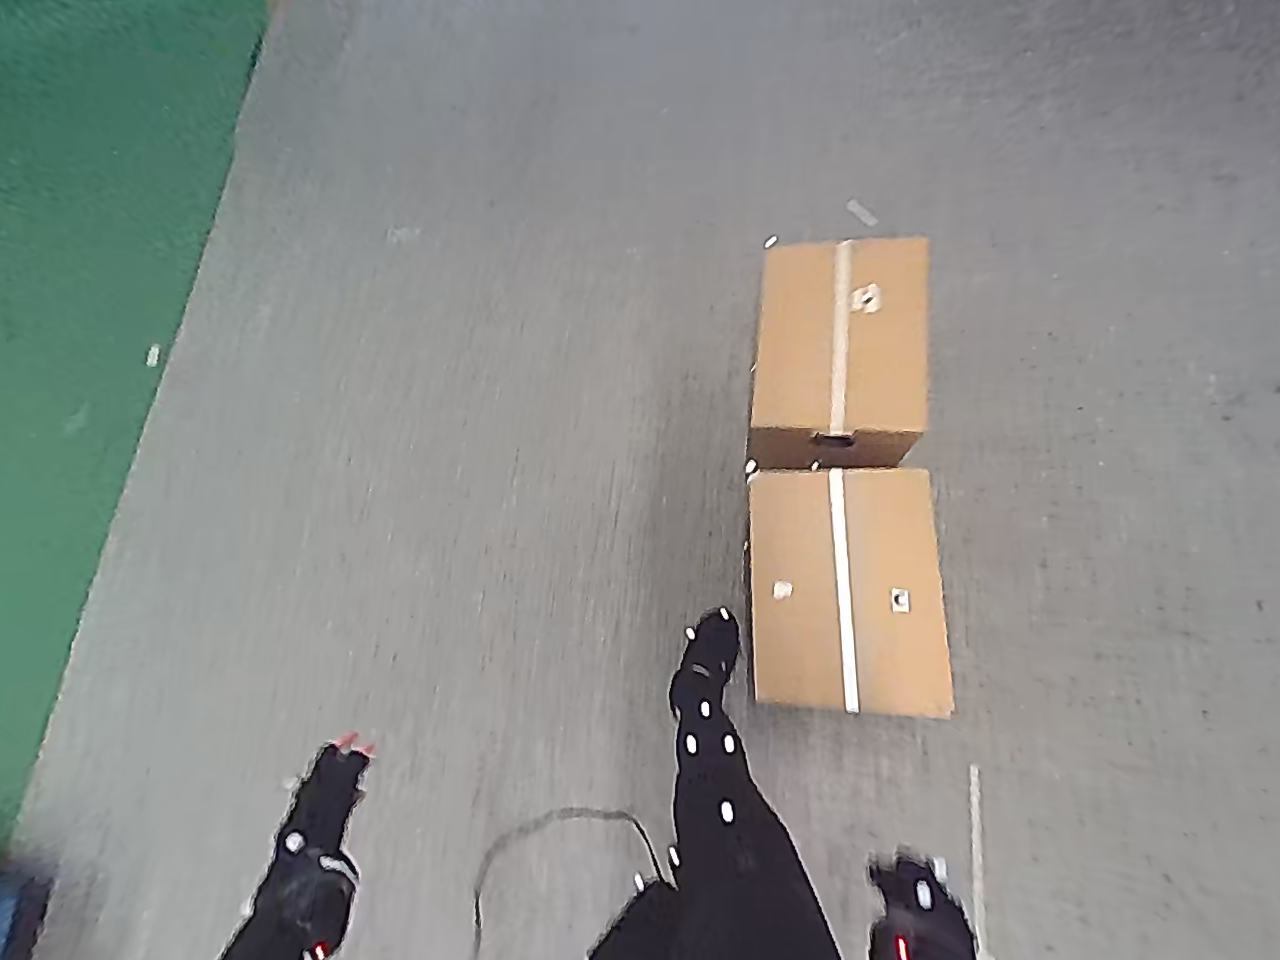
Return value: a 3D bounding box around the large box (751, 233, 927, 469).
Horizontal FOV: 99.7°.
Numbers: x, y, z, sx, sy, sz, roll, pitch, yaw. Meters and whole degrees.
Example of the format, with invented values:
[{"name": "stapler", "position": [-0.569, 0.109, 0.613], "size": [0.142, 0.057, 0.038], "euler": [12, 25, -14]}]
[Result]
[{"name": "large box", "position": [0.419, -0.258, 1.182], "size": [0.320, 0.320, 0.408], "euler": [4, 76, 14]}]
